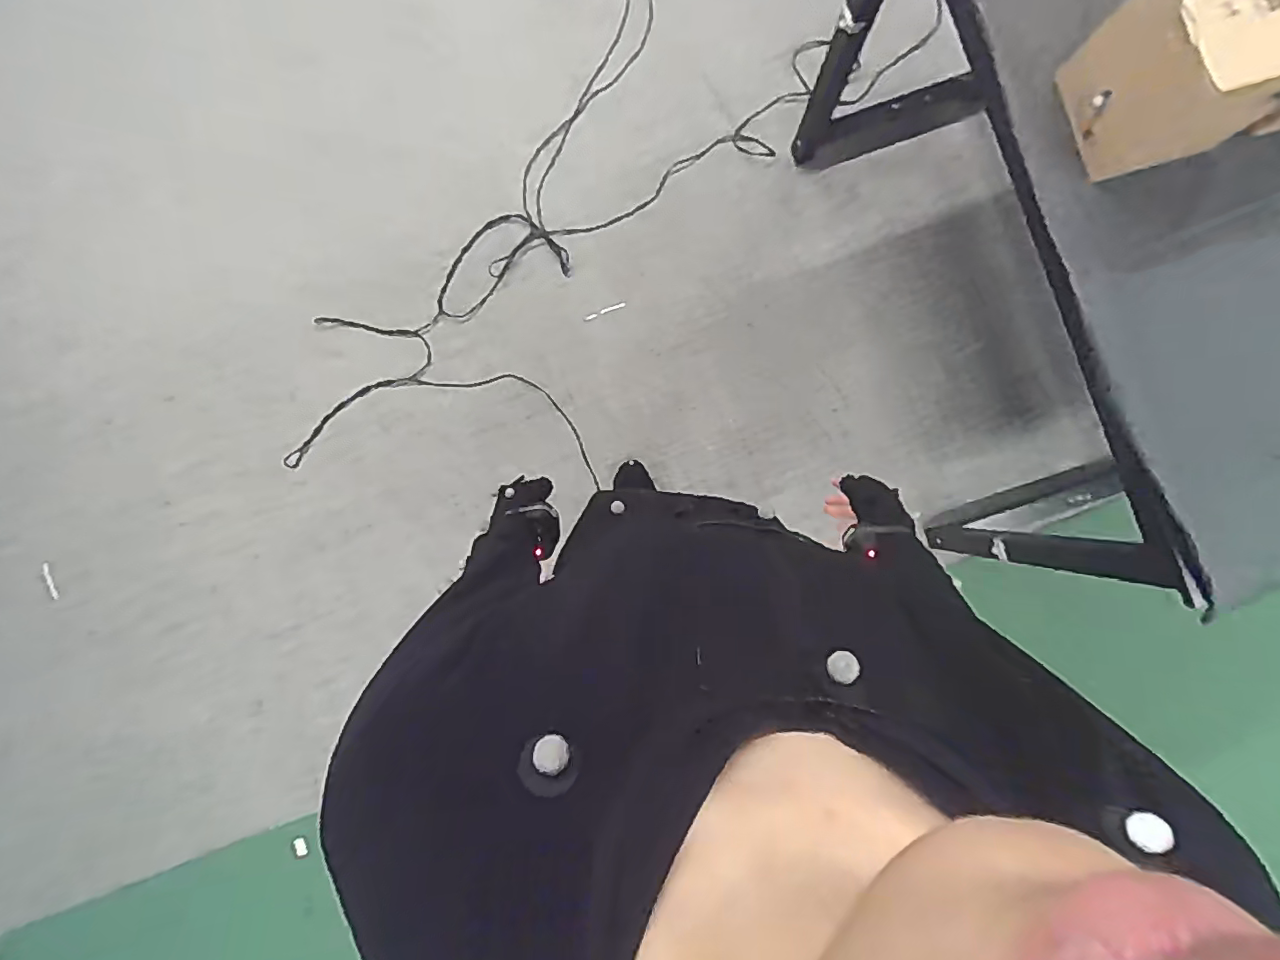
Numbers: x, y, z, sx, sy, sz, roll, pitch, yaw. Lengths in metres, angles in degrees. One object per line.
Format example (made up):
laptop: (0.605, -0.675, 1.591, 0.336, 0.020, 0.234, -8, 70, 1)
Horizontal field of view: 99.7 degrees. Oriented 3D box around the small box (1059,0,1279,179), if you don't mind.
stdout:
small box: (0.686, -0.517, 0.674, 0.179, 0.176, 0.168, -16, 88, 0)
